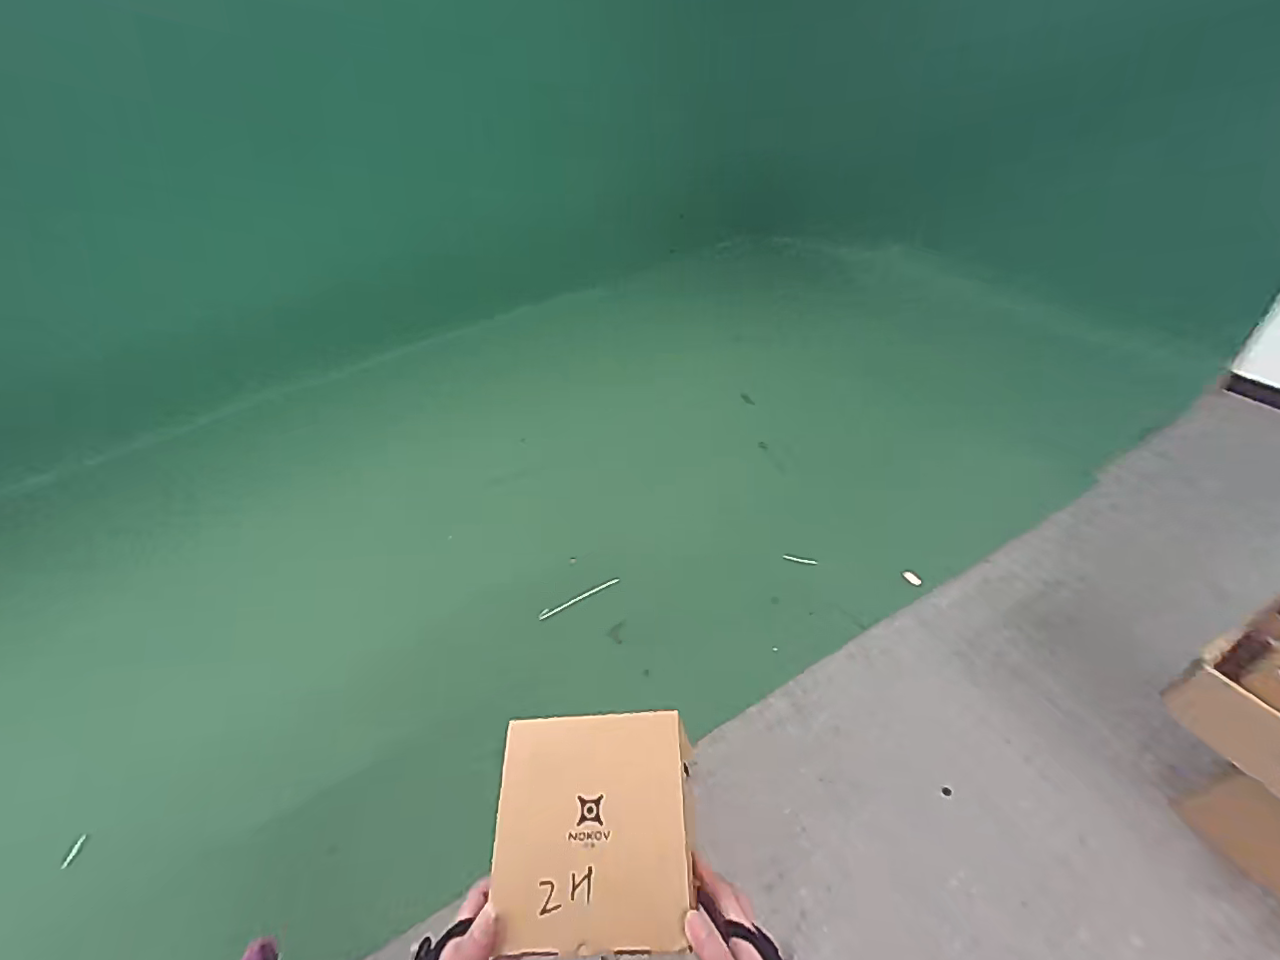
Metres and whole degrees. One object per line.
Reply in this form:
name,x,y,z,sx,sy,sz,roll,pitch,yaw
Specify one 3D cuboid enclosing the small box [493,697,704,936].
small box,-0.026,0.329,0.532,0.168,0.176,0.179,-5,53,6
